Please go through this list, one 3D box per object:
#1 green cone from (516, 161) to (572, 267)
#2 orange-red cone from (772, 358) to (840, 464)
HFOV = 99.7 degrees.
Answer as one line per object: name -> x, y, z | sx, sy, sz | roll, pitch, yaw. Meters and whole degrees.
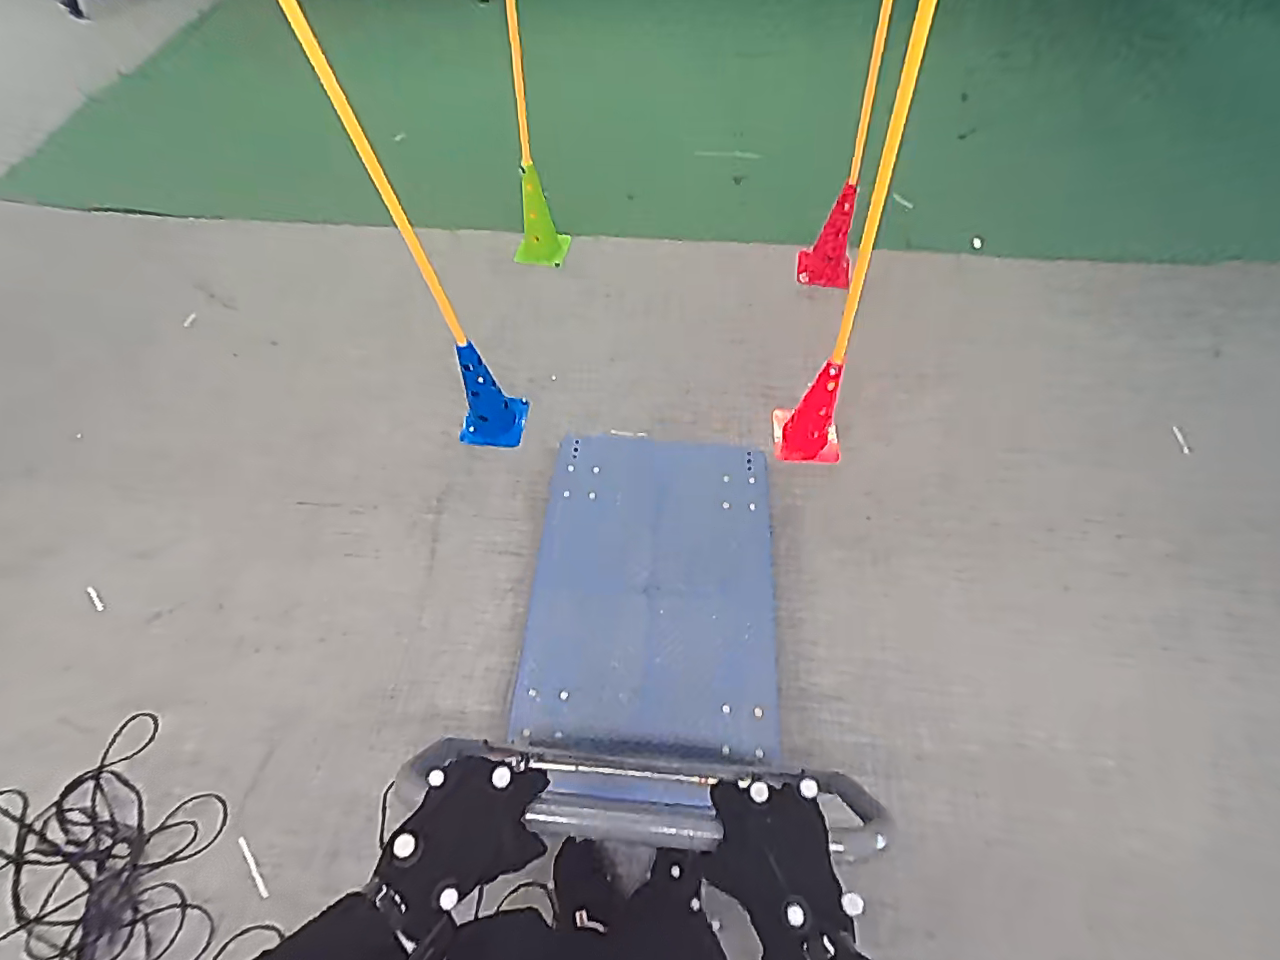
green cone -> -0.399, -1.037, 2.082 | 0.202, 0.368, 0.200 | 8, 59, 6
orange-red cone -> 0.522, -0.224, 1.601 | 0.199, 0.360, 0.198 | 3, 59, 4
